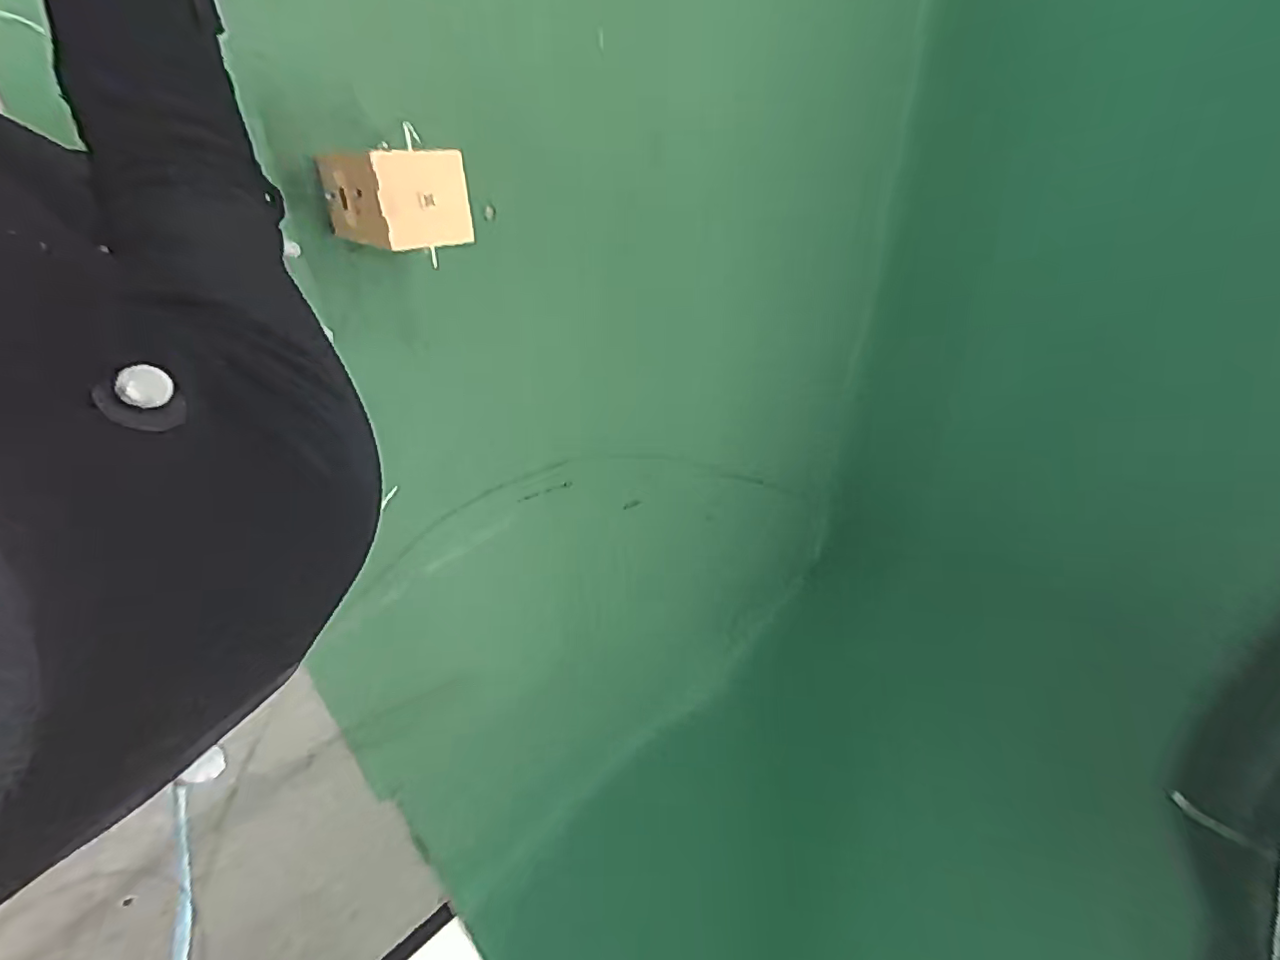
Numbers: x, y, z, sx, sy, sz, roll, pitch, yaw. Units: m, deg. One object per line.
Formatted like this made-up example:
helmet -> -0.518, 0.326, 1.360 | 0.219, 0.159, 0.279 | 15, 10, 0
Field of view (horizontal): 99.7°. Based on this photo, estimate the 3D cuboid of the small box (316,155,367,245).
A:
small box -> -0.583, -0.625, 1.200 | 0.179, 0.176, 0.168 | -25, 128, -36

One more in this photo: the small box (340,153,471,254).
small box -> -0.472, -0.566, 1.096 | 0.179, 0.176, 0.168 | -26, 130, -35
